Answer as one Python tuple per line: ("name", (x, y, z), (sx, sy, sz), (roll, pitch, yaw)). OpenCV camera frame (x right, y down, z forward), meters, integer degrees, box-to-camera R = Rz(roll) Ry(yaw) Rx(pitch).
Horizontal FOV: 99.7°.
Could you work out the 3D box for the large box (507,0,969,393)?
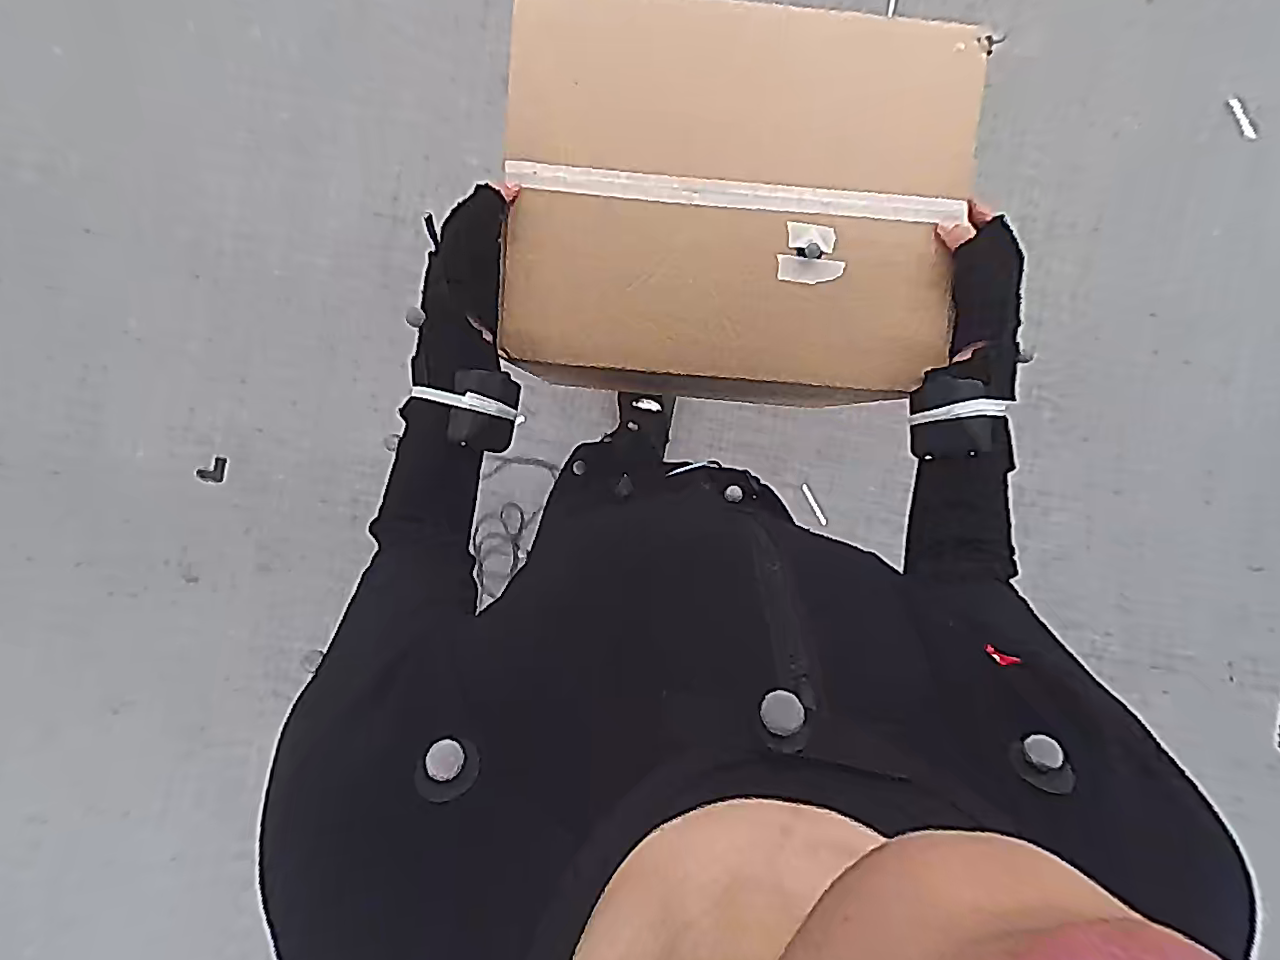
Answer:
("large box", (0.078, -0.277, 0.633), (0.408, 0.320, 0.320), (5, 97, -3))
